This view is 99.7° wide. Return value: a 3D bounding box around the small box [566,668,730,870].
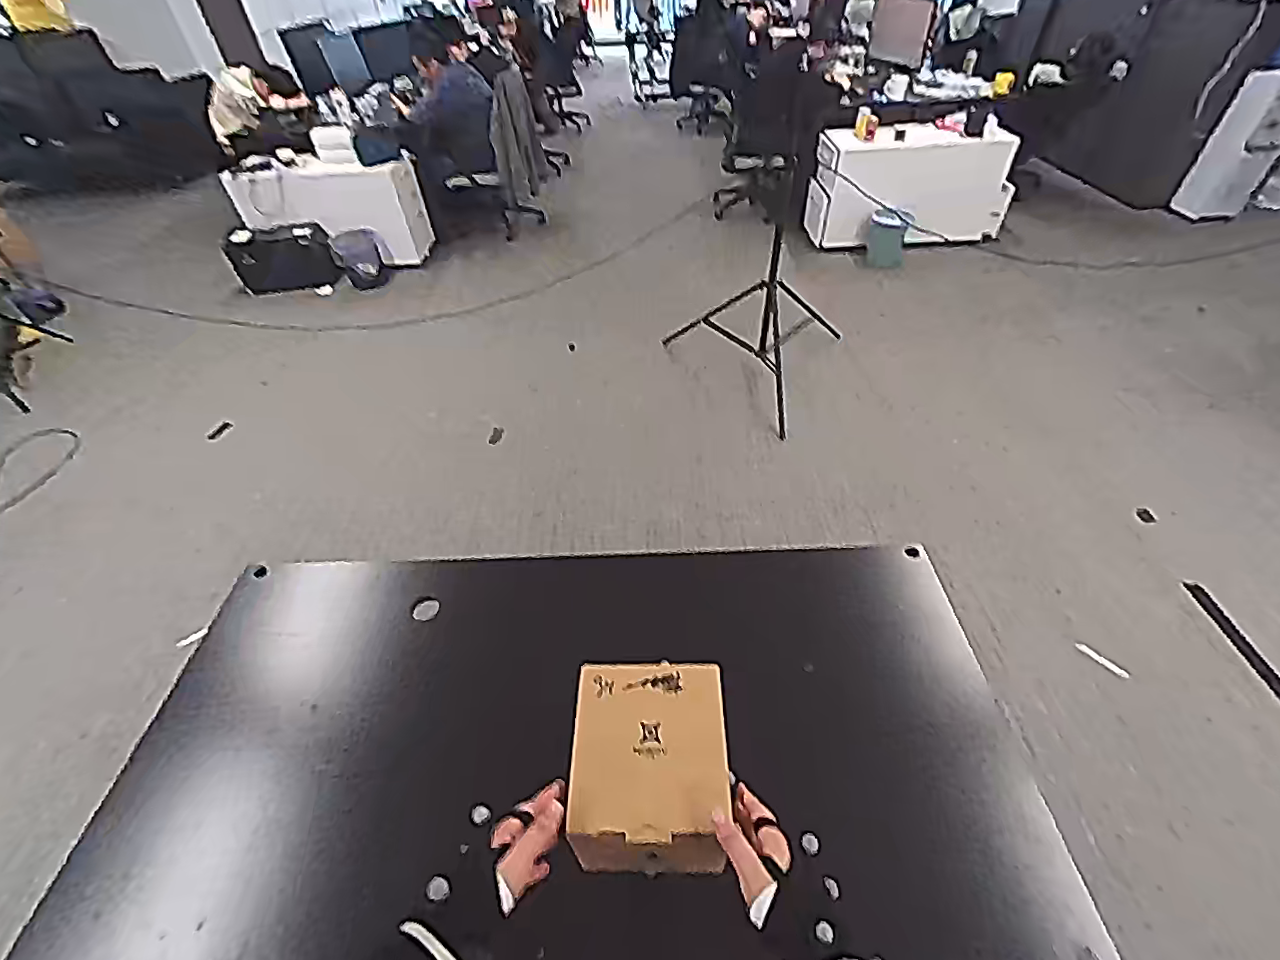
[{"bbox_3d":[0.016,0.342,0.638,0.168,0.176,0.179,-1,45,3],"label":"small box"}]
